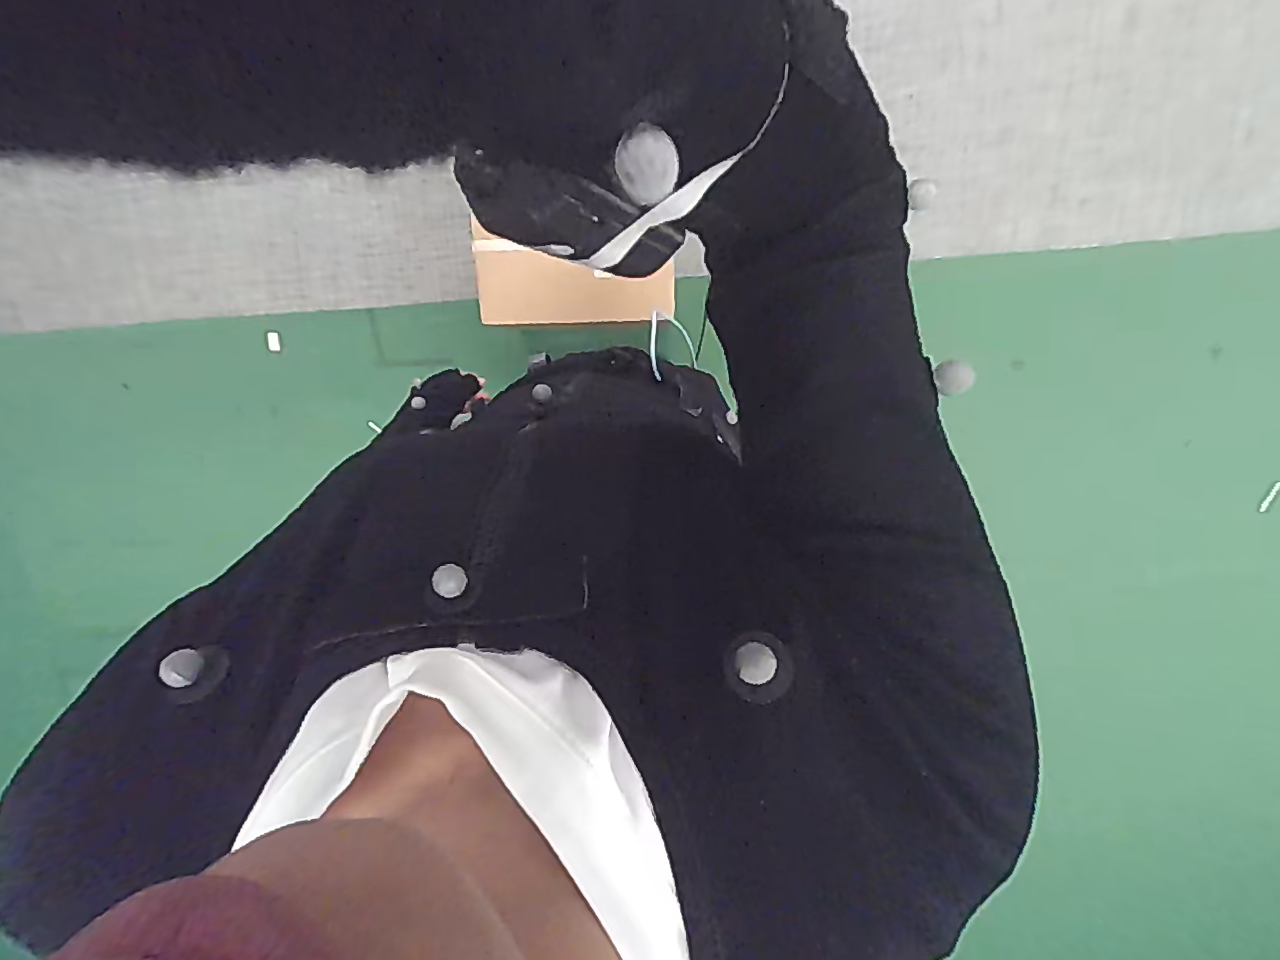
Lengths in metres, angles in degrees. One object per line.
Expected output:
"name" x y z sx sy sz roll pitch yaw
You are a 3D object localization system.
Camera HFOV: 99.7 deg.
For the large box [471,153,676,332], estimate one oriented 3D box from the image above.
"large box" -0.130 -0.514 1.235 0.408 0.320 0.320 -1 103 1
